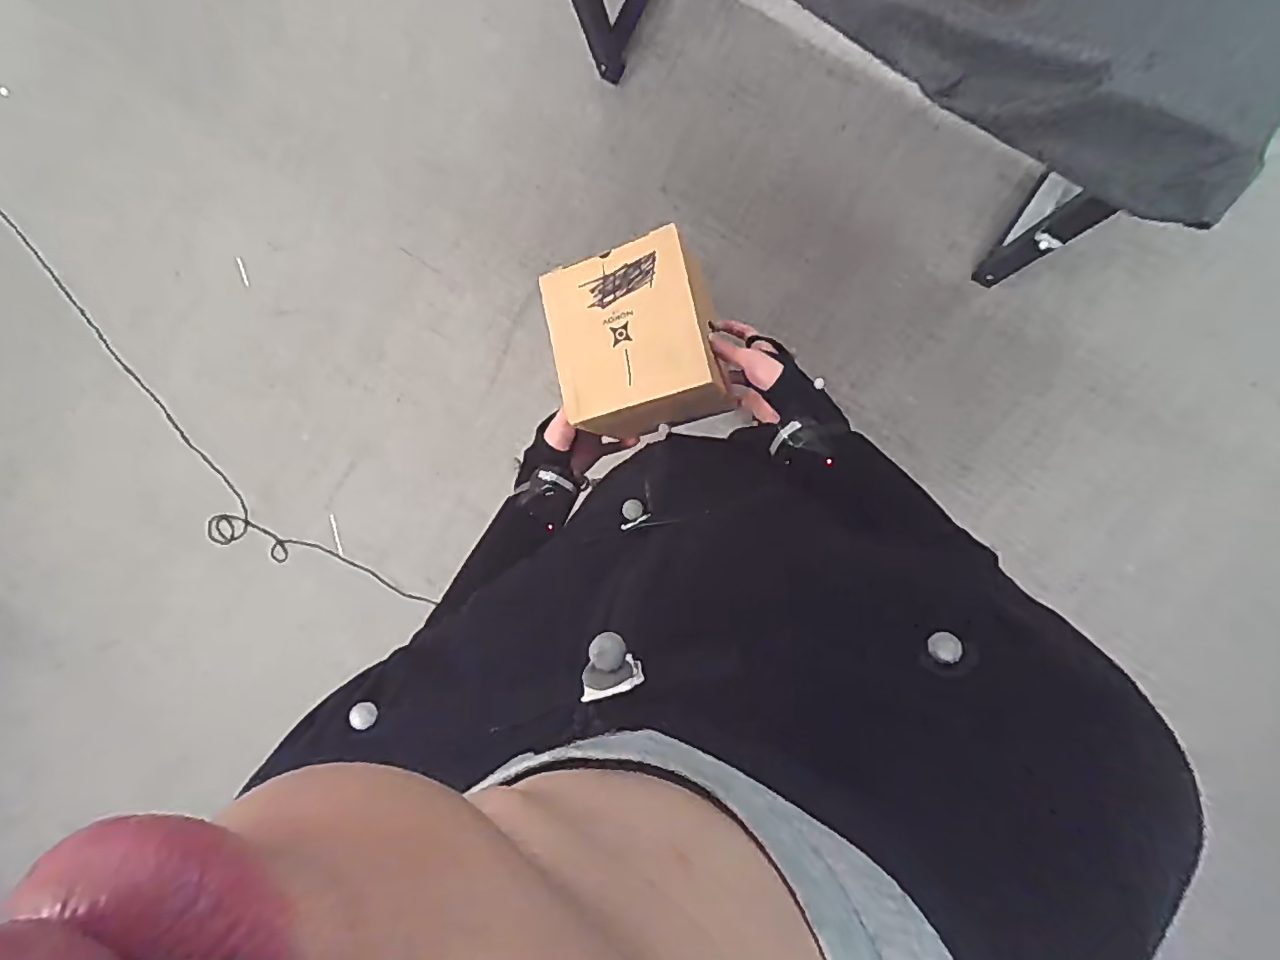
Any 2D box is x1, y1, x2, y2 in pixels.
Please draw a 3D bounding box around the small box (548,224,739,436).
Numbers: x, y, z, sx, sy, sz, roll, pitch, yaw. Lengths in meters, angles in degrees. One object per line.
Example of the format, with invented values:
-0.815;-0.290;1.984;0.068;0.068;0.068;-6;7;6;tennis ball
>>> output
0.012;-0.163;0.650;0.168;0.176;0.179;-14;84;18;small box
